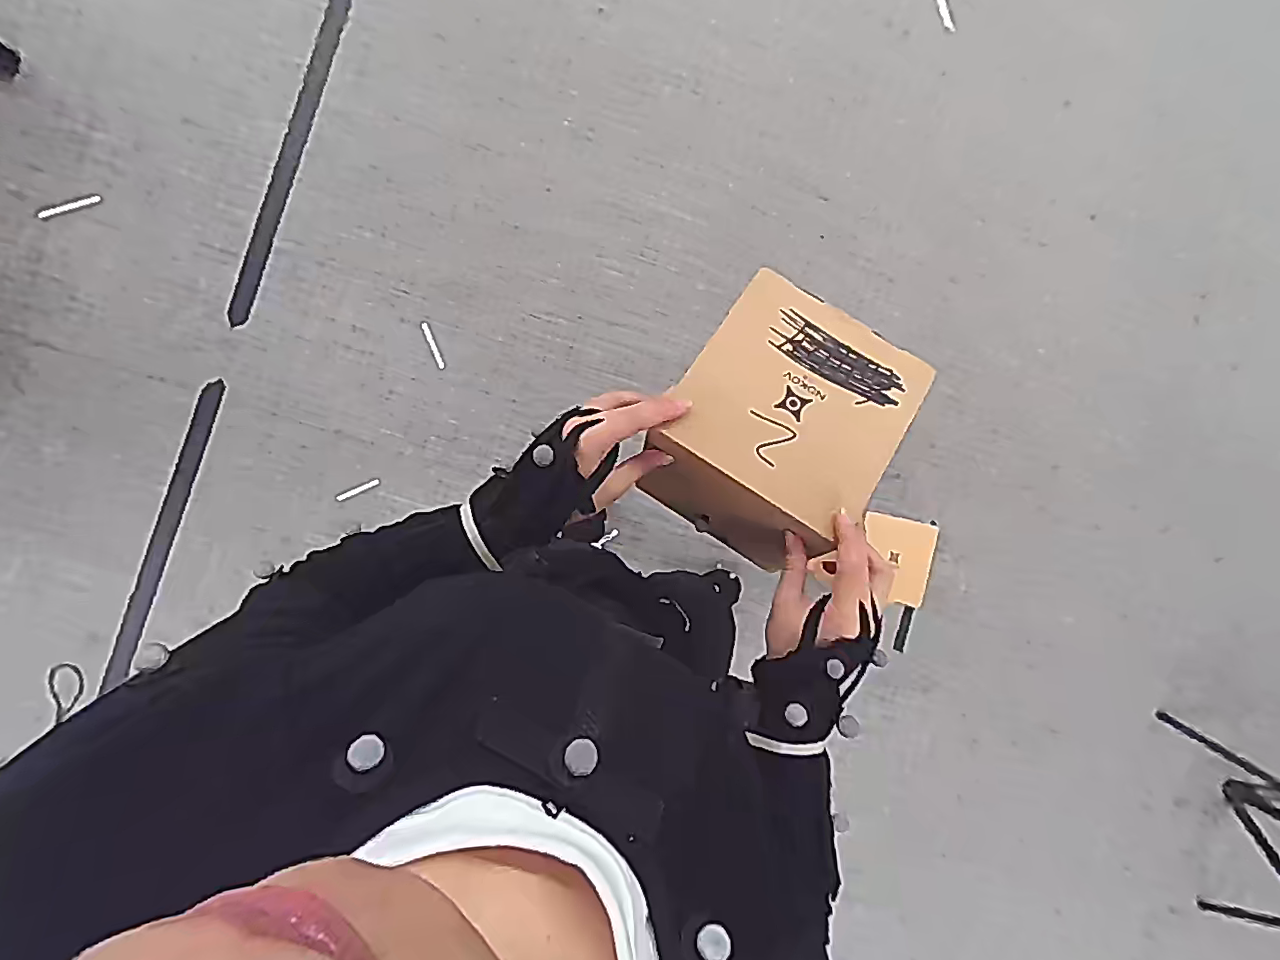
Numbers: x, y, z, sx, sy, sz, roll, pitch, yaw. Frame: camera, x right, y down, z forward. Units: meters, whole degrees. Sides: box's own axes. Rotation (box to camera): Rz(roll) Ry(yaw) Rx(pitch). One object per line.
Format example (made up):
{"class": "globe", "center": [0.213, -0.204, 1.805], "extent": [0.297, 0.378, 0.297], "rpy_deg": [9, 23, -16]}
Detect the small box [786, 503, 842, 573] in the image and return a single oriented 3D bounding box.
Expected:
{"class": "small box", "center": [0.489, 0.161, 1.350], "extent": [0.179, 0.176, 0.168], "rpy_deg": [20, 90, -6]}

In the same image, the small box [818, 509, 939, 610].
{"class": "small box", "center": [0.514, 0.165, 1.189], "extent": [0.168, 0.176, 0.179], "rpy_deg": [12, 91, -6]}
